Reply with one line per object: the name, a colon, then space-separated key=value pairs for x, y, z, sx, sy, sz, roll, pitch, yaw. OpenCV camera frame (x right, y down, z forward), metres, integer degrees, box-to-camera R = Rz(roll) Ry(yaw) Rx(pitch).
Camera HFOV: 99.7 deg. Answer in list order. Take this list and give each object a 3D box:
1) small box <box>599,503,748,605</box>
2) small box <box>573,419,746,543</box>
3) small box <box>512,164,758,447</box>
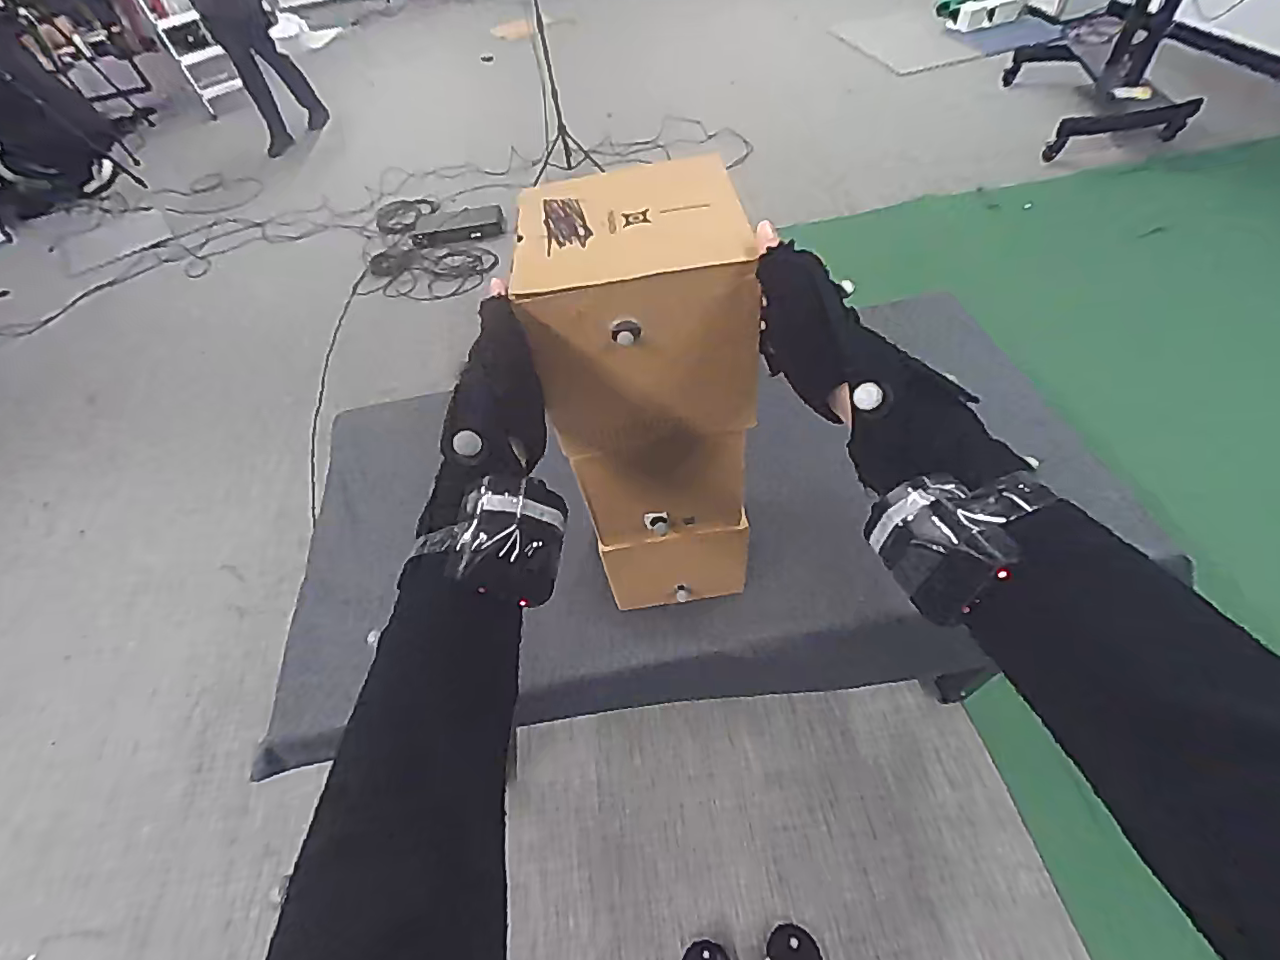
small box: x=0.039 y=0.053 z=0.737 sx=0.179 sy=0.176 sz=0.168 roll=-9 pitch=52 yaw=1
small box: x=0.018 y=-0.052 z=0.615 sx=0.168 sy=0.176 sz=0.179 roll=-11 pitch=53 yaw=2
small box: x=0.001 y=-0.146 z=0.481 sx=0.179 sy=0.176 sz=0.168 roll=-8 pitch=52 yaw=2
